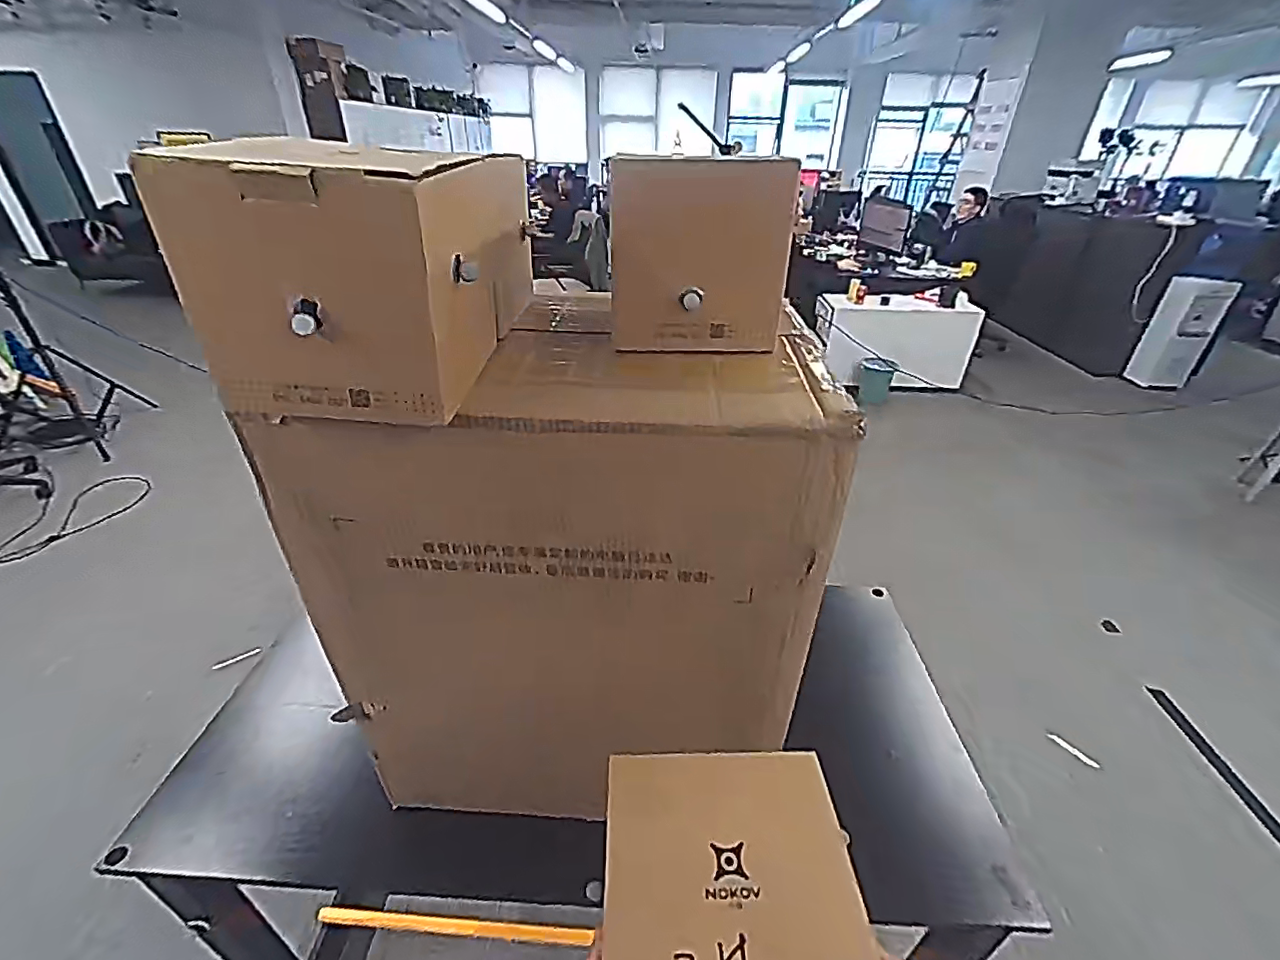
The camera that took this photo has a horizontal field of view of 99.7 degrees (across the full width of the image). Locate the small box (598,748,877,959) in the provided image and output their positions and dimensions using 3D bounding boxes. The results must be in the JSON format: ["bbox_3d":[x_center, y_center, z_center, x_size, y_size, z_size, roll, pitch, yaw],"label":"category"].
[{"bbox_3d":[0.058,0.327,0.395,0.168,0.176,0.179,-2,30,1],"label":"small box"}]

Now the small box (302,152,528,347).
[{"bbox_3d":[-0.222,-0.256,0.592,0.168,0.176,0.179,1,32,1],"label":"small box"}]

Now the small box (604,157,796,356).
[{"bbox_3d":[0.051,-0.238,0.567,0.168,0.176,0.179,0,31,0],"label":"small box"}]
